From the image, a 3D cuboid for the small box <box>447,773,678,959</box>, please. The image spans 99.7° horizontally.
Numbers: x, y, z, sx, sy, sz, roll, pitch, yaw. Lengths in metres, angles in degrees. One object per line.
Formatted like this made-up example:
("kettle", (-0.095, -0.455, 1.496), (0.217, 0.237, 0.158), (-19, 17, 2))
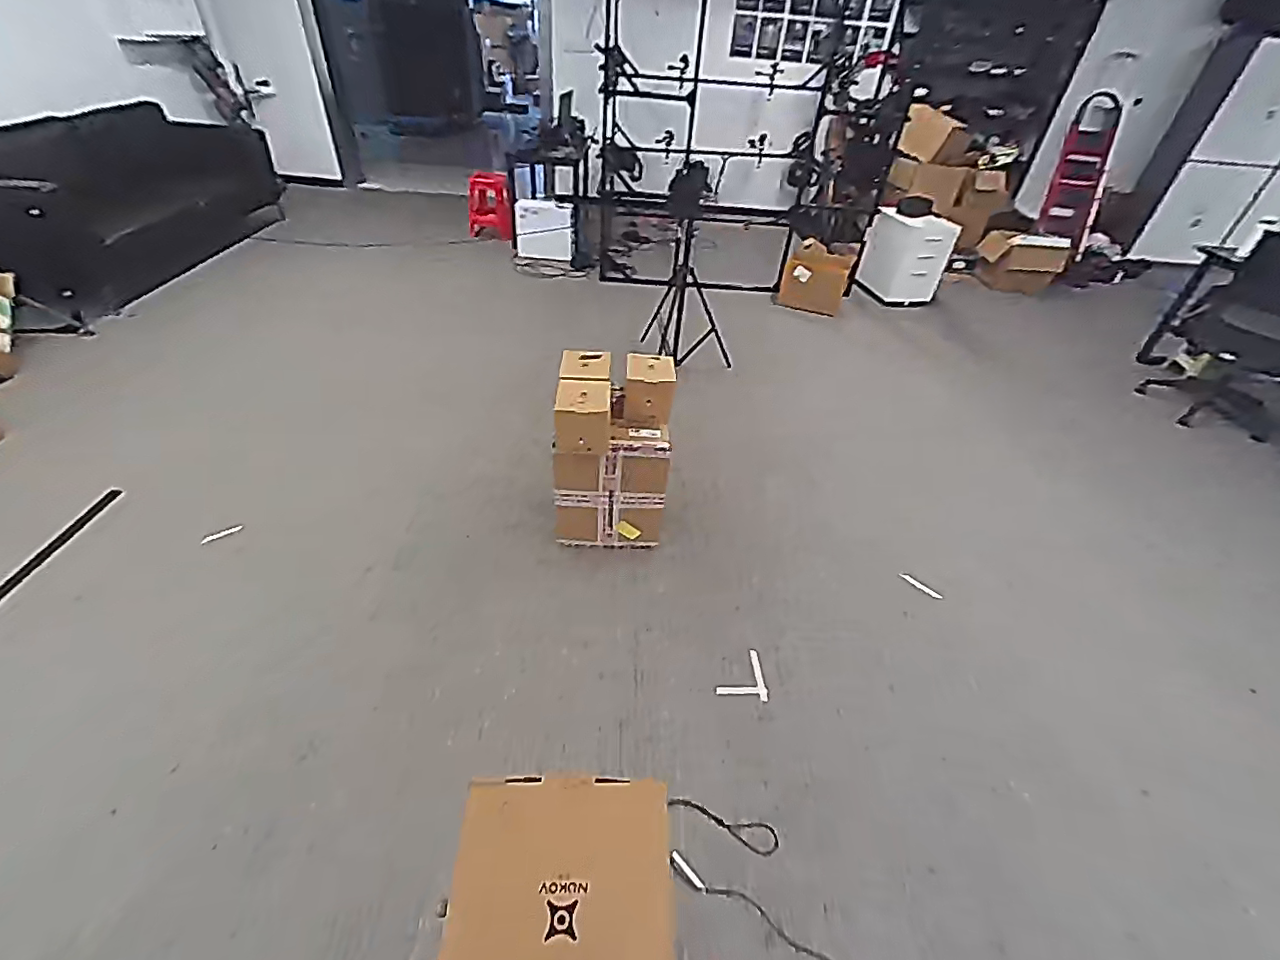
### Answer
("small box", (-0.065, 0.364, 0.459), (0.168, 0.176, 0.179), (4, 52, -6))
